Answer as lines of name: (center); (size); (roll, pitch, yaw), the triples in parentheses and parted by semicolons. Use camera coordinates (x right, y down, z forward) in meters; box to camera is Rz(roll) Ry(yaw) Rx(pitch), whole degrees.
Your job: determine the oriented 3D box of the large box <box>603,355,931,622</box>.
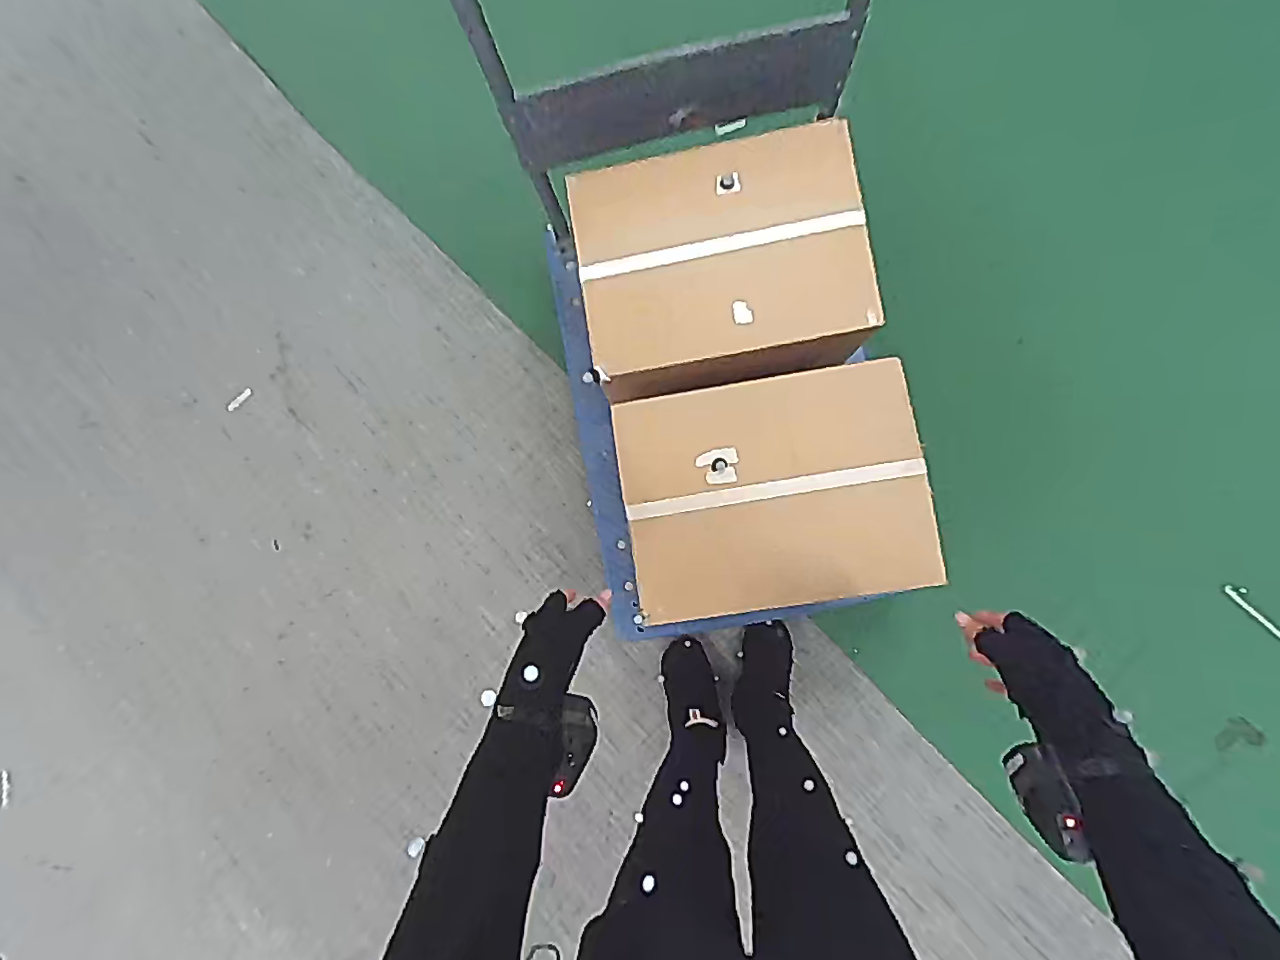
large box: (0.181, 0.021, 0.883); (0.408, 0.320, 0.320); (-9, 85, 5)
